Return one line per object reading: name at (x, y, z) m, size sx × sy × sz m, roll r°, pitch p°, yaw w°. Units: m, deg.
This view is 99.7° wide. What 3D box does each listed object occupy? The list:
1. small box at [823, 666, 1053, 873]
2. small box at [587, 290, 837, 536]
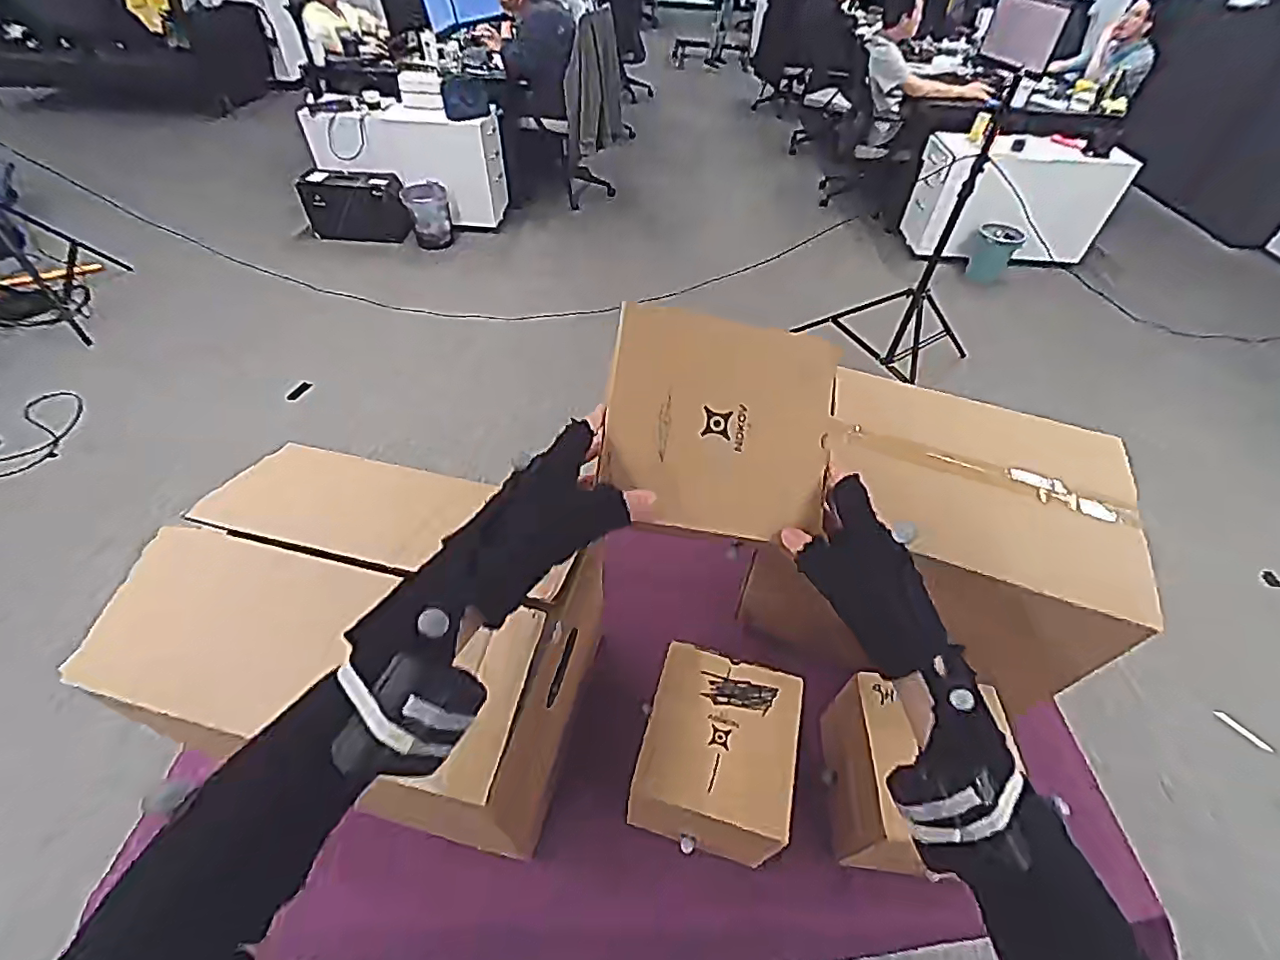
small box at (0.330, 0.347, 0.644) m, size 0.168 × 0.176 × 0.179 m, roll 6°, pitch 48°, yaw 2°
small box at (0.051, -0.042, 0.486) m, size 0.179 × 0.176 × 0.168 m, roll 8°, pitch 80°, yaw -5°
